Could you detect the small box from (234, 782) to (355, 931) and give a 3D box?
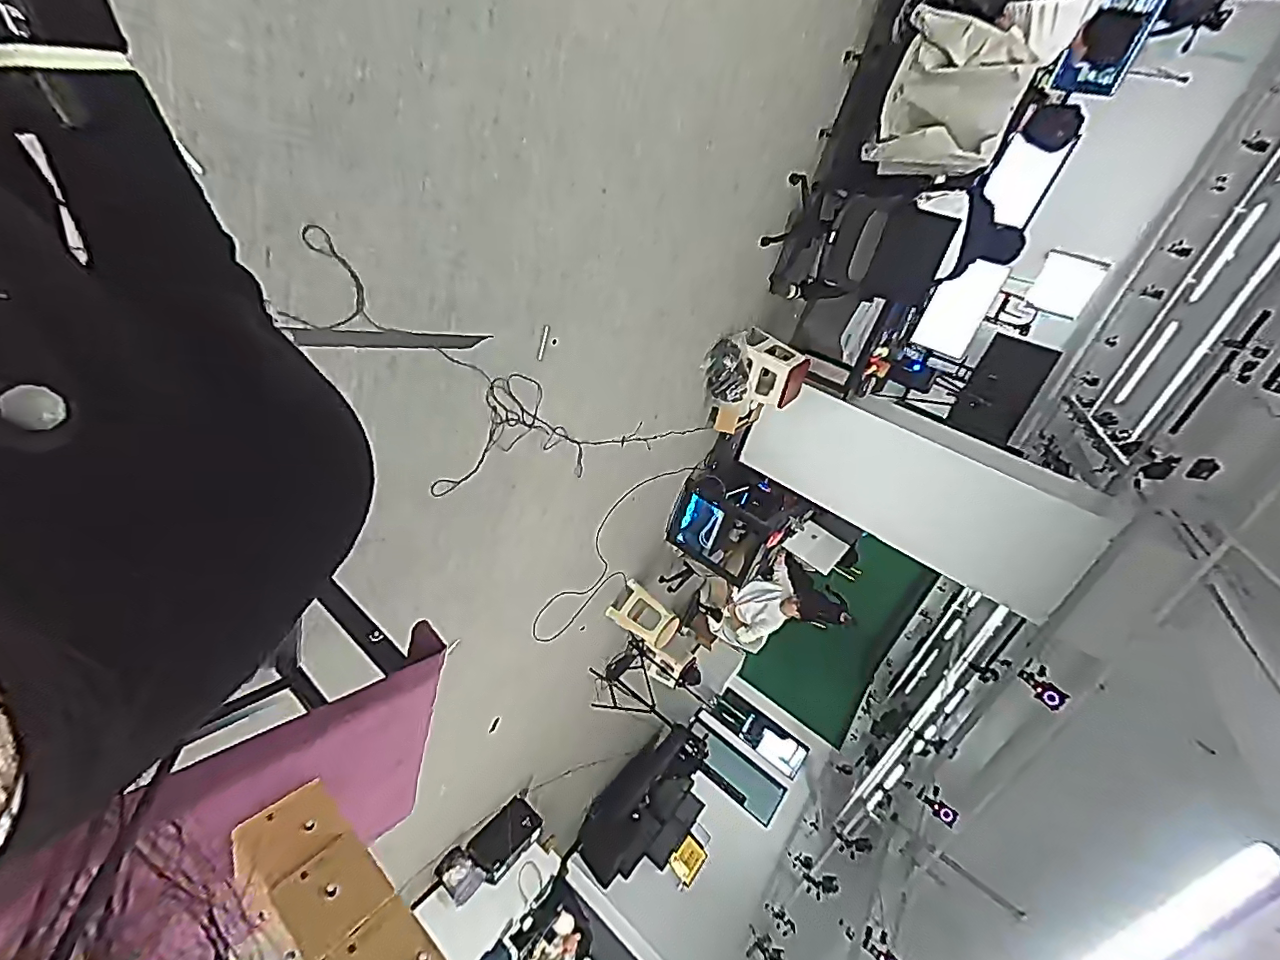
[{"bbox_3d":[-0.741,0.792,1.160,0.168,0.176,0.179,-21,136,-53],"label":"small box"}]

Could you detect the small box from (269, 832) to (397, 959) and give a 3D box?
[{"bbox_3d":[-0.610,0.853,1.079,0.168,0.176,0.179,-25,139,-49],"label":"small box"}]
